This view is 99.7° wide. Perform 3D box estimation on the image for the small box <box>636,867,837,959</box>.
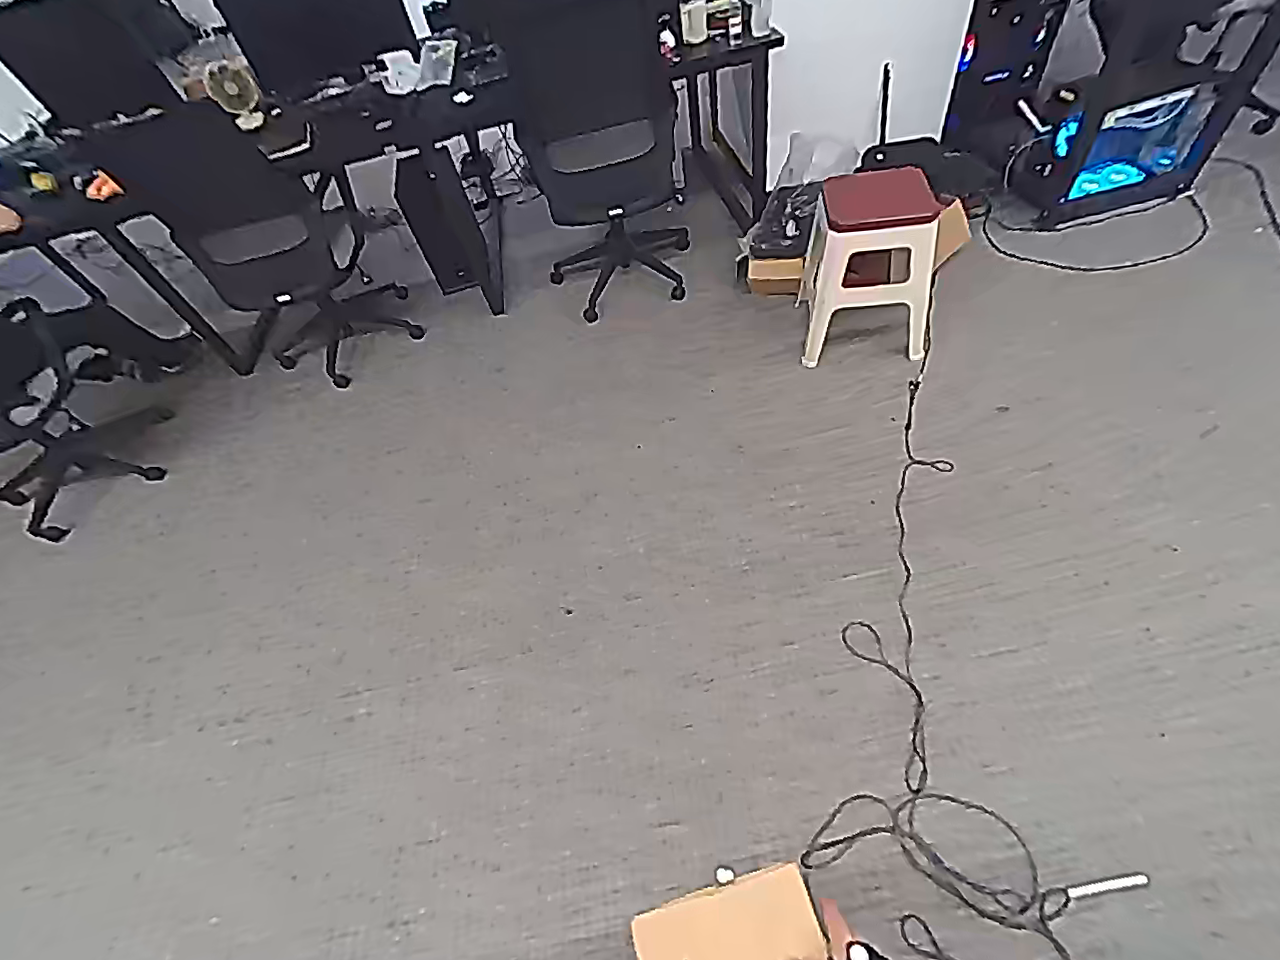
[{"bbox_3d":[0.111,0.510,0.542,0.179,0.176,0.168,-18,50,0],"label":"small box"}]
